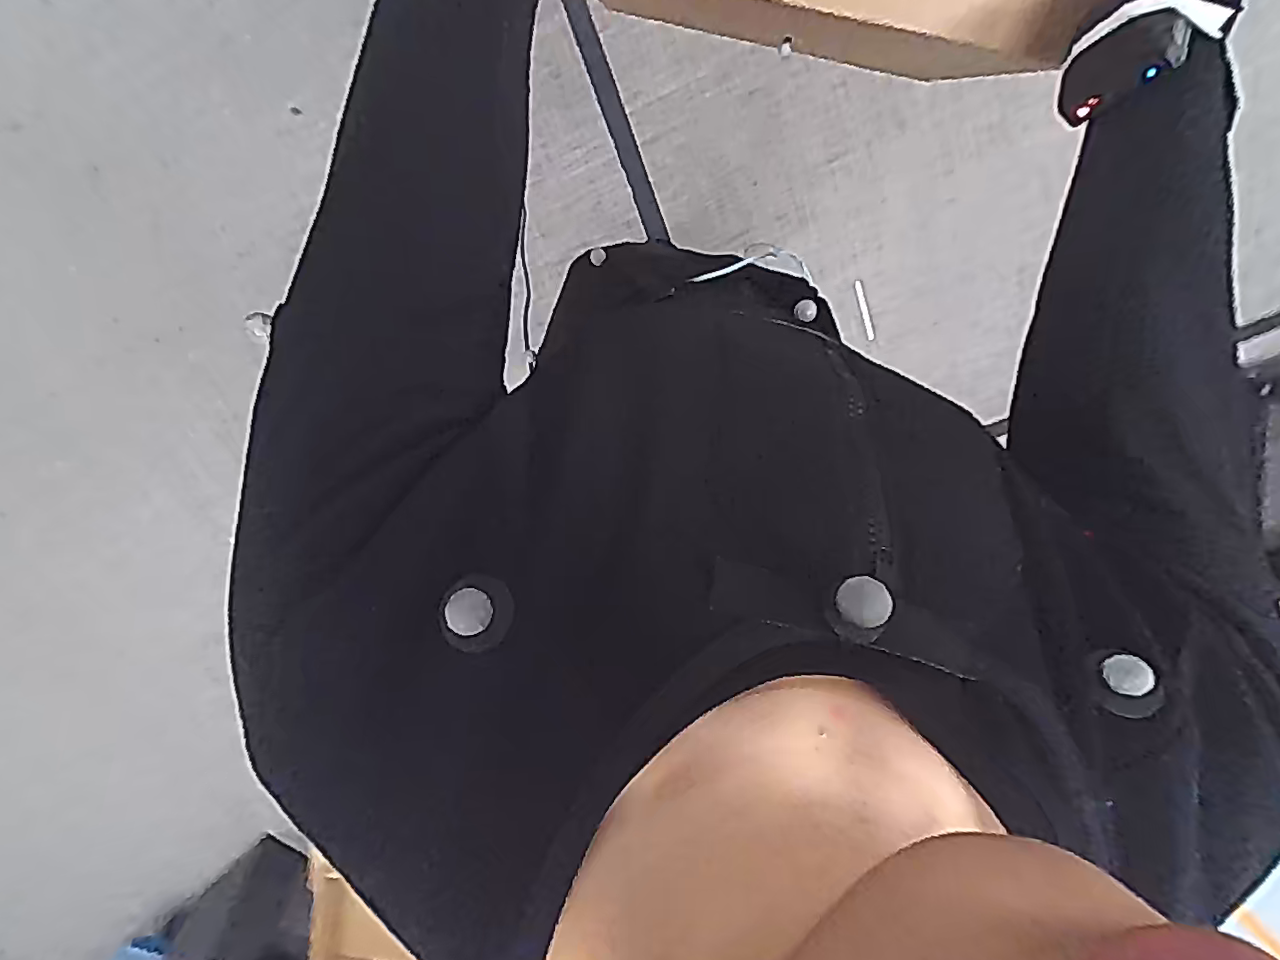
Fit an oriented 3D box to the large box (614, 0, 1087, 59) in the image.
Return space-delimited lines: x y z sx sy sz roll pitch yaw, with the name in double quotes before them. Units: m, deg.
"large box" 0.163 -0.569 0.434 0.408 0.320 0.320 10 124 -2
